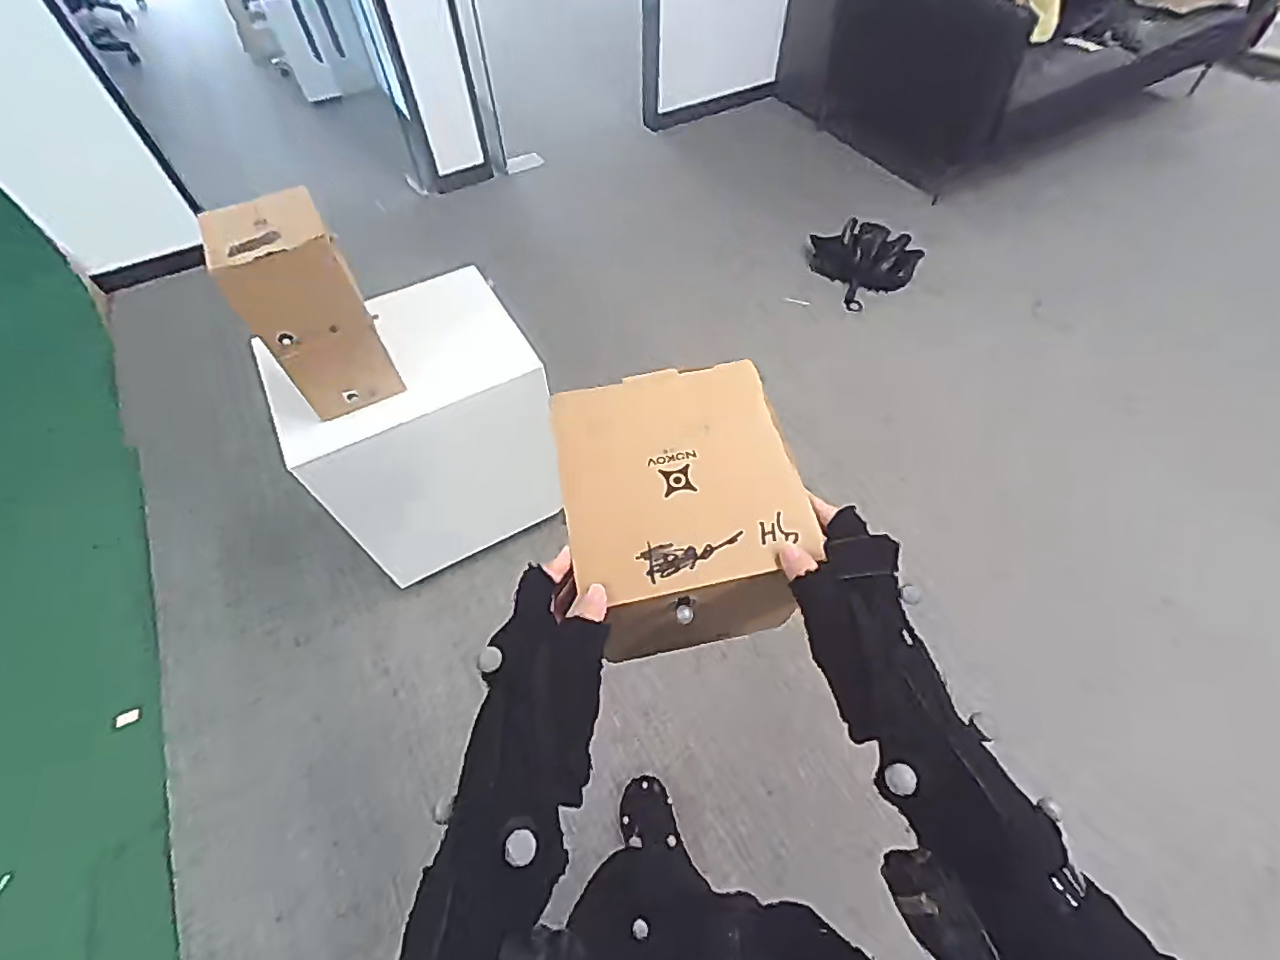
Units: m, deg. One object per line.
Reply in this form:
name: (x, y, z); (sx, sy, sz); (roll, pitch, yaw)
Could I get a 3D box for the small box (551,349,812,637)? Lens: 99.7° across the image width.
small box: (0.025, 0.019, 0.469); (0.168, 0.176, 0.179); (-11, 62, -3)

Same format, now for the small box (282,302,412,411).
small box: (-0.564, -0.264, 1.026); (0.168, 0.176, 0.179); (-28, 62, -16)

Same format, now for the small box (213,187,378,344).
small box: (-0.566, -0.347, 0.904); (0.168, 0.176, 0.179); (-25, 58, -15)
